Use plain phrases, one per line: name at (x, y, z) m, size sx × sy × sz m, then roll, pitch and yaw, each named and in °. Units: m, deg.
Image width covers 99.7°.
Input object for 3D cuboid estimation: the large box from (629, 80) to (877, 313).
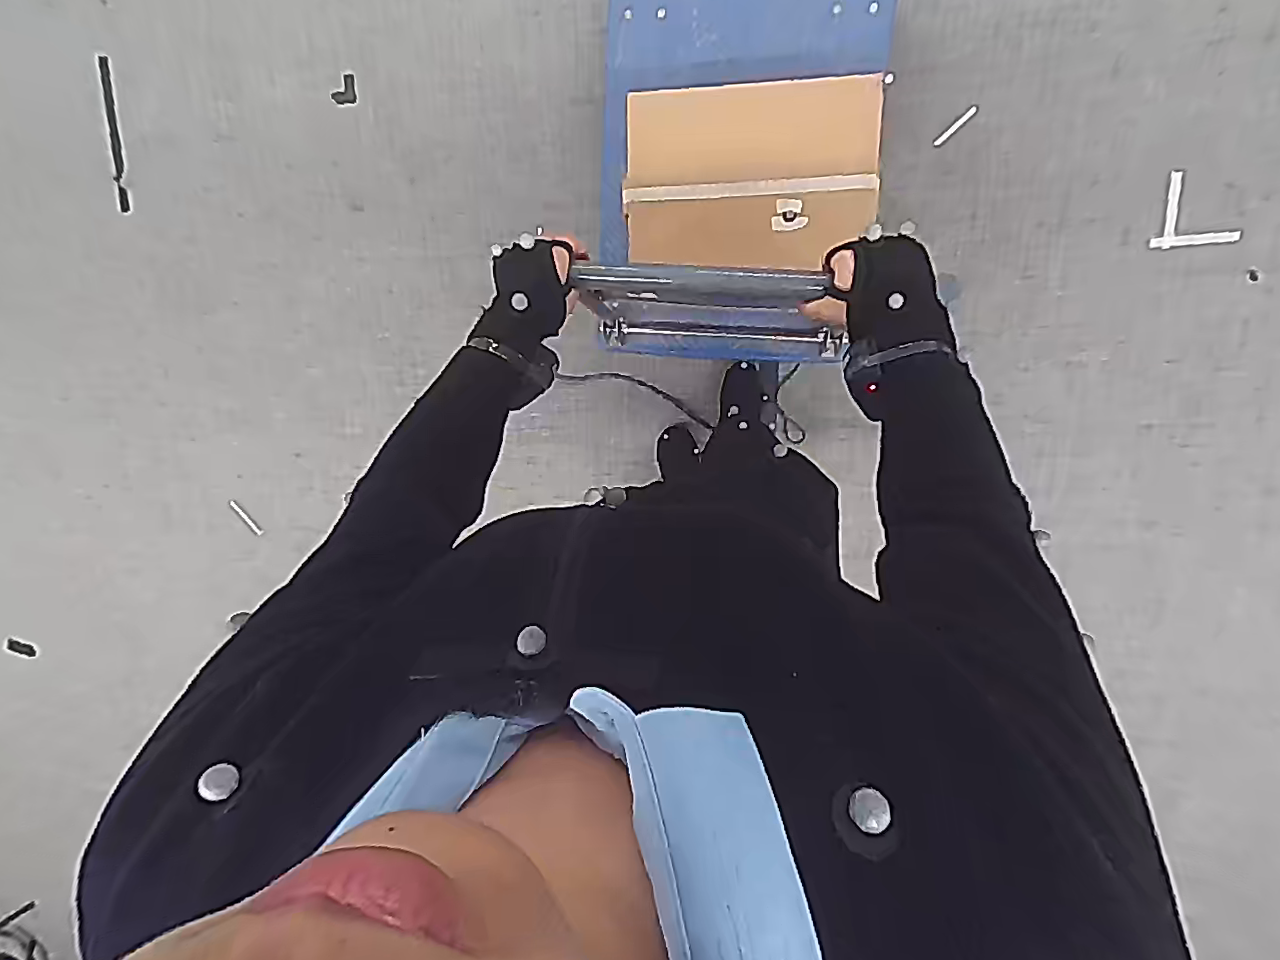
large box at (0.198, -0.509, 1.050) m, size 0.408 × 0.320 × 0.320 m, roll 1°, pitch 102°, yaw 7°
